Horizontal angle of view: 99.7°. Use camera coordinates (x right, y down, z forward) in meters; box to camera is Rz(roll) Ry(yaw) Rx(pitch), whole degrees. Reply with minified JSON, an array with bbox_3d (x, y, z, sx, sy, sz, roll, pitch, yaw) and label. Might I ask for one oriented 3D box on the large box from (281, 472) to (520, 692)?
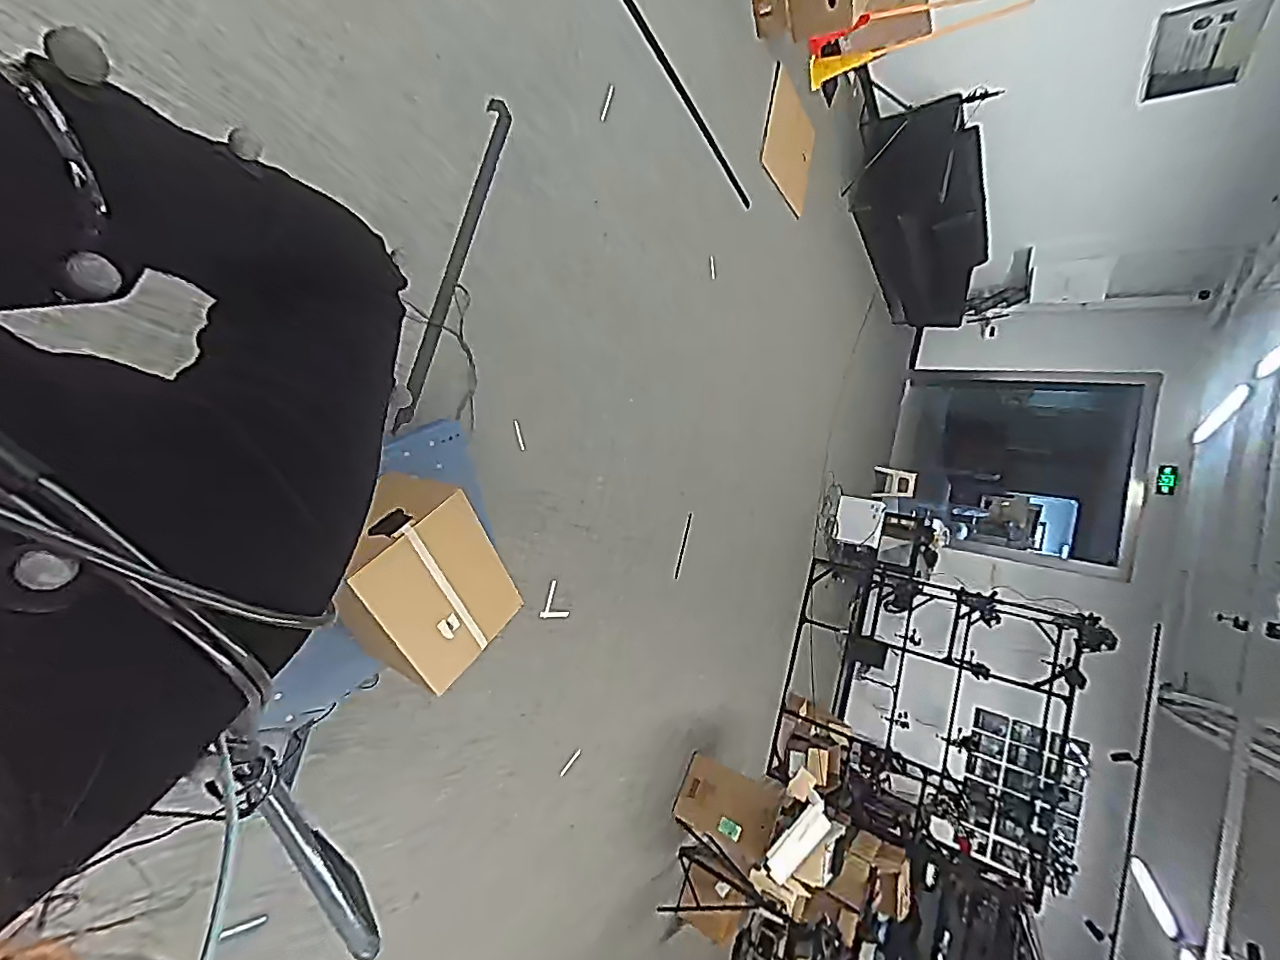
[{"bbox_3d":[-0.574,0.240,1.344,0.320,0.320,0.408,-48,134,-37],"label":"large box"}]
